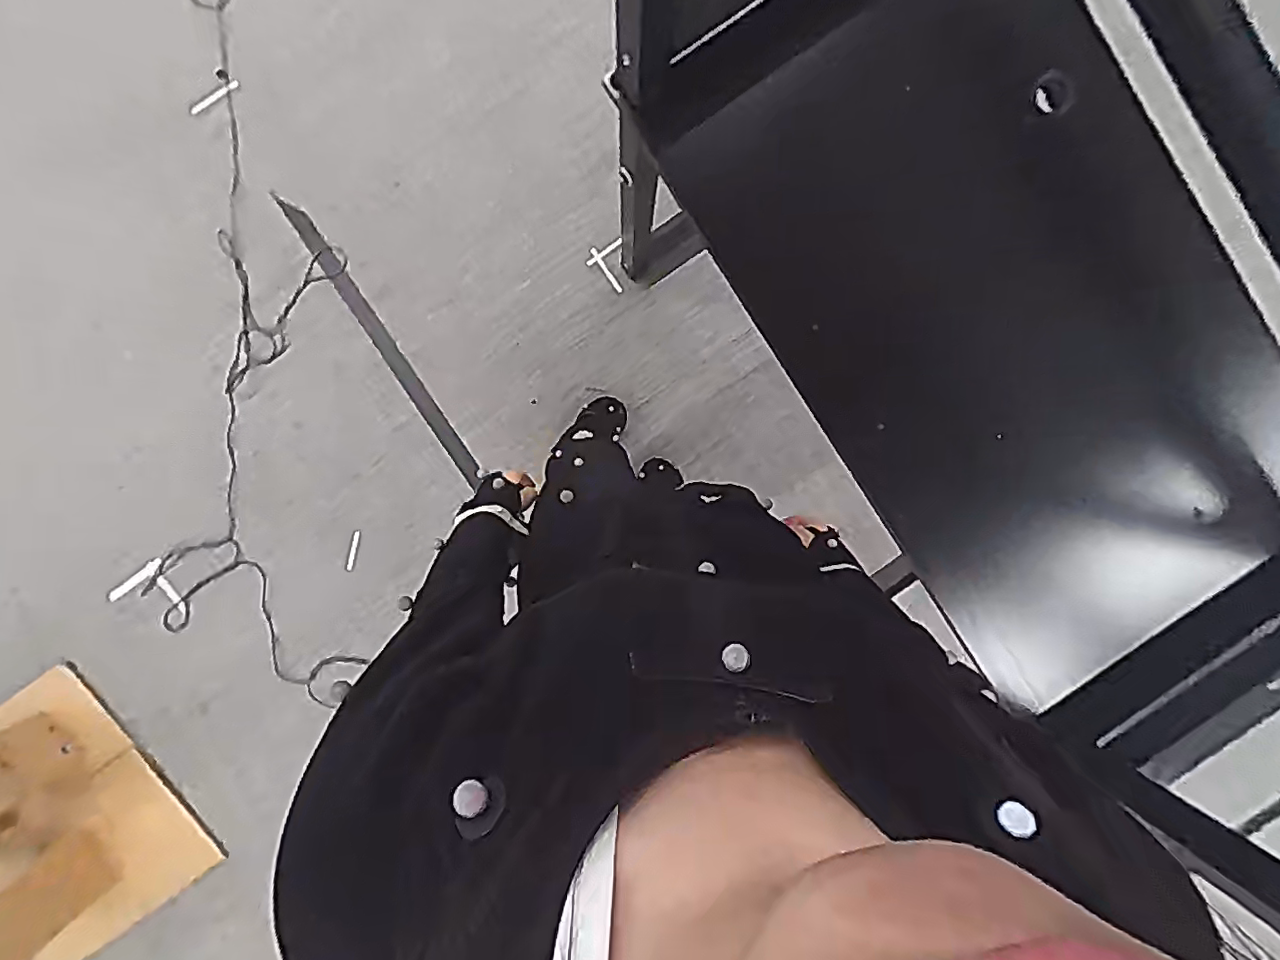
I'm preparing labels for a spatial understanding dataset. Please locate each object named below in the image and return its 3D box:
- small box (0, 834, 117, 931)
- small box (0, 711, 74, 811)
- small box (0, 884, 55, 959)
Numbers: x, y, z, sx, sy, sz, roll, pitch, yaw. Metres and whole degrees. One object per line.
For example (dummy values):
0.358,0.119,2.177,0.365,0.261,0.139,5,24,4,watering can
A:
-1.539,1.062,1.397,0.168,0.176,0.179,-32,95,0,small box
-1.618,0.728,1.373,0.179,0.176,0.168,-40,94,1,small box
-1.532,1.076,1.233,0.168,0.176,0.179,-31,96,0,small box
